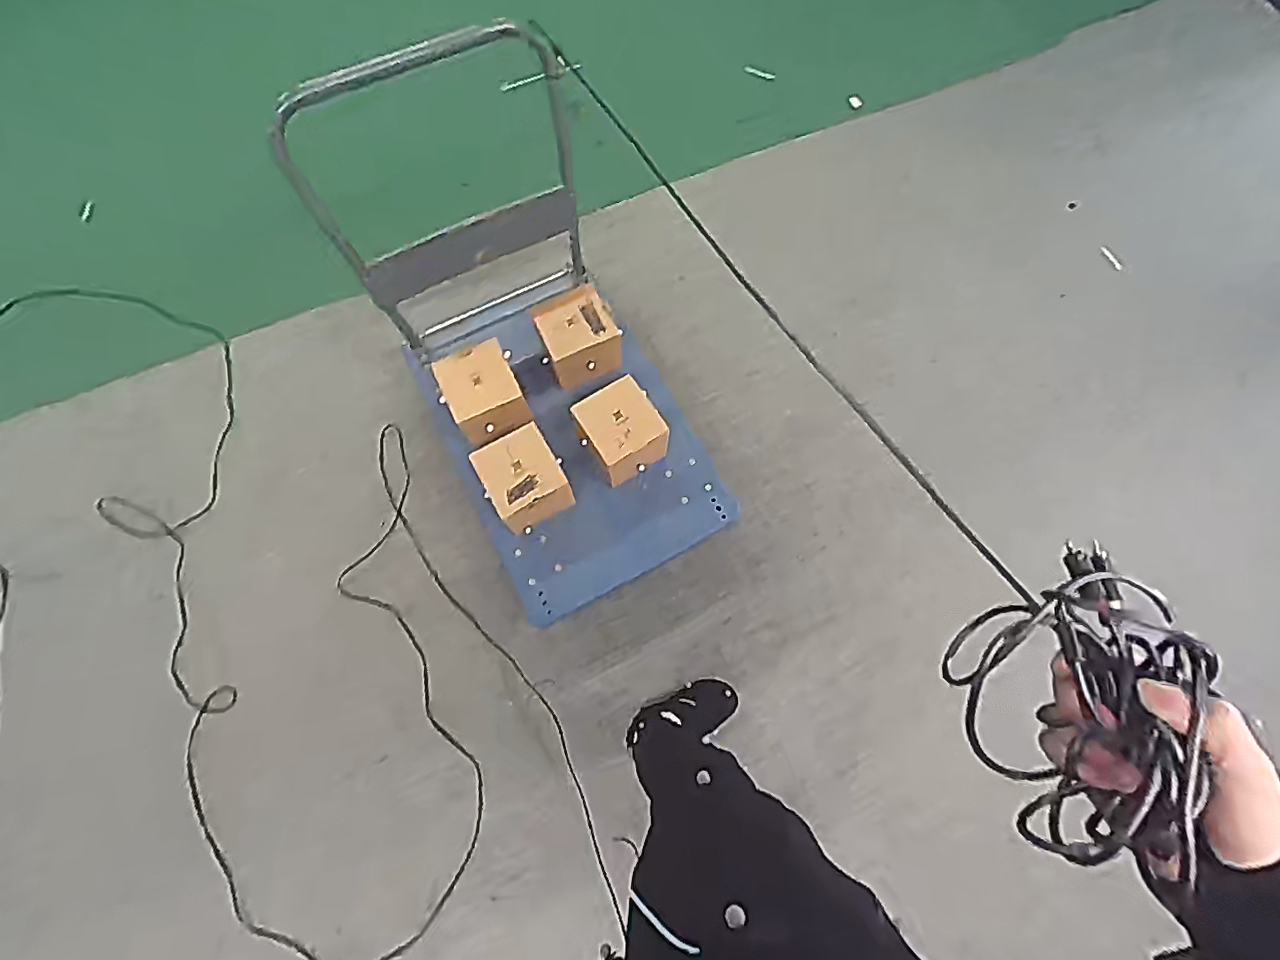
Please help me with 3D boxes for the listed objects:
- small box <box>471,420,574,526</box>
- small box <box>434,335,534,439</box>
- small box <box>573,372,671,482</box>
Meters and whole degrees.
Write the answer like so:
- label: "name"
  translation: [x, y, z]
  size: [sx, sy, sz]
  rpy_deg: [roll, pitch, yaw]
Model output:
- label: "small box"
  translation: [-0.267, -0.007, 1.270]
  size: [0.168, 0.176, 0.179]
  rpy_deg: [-28, 74, -10]
- label: "small box"
  translation: [-0.378, -0.219, 1.338]
  size: [0.168, 0.176, 0.179]
  rpy_deg: [-25, 74, -9]
- label: "small box"
  translation: [-0.044, -0.122, 1.310]
  size: [0.168, 0.176, 0.179]
  rpy_deg: [-31, 75, -9]
